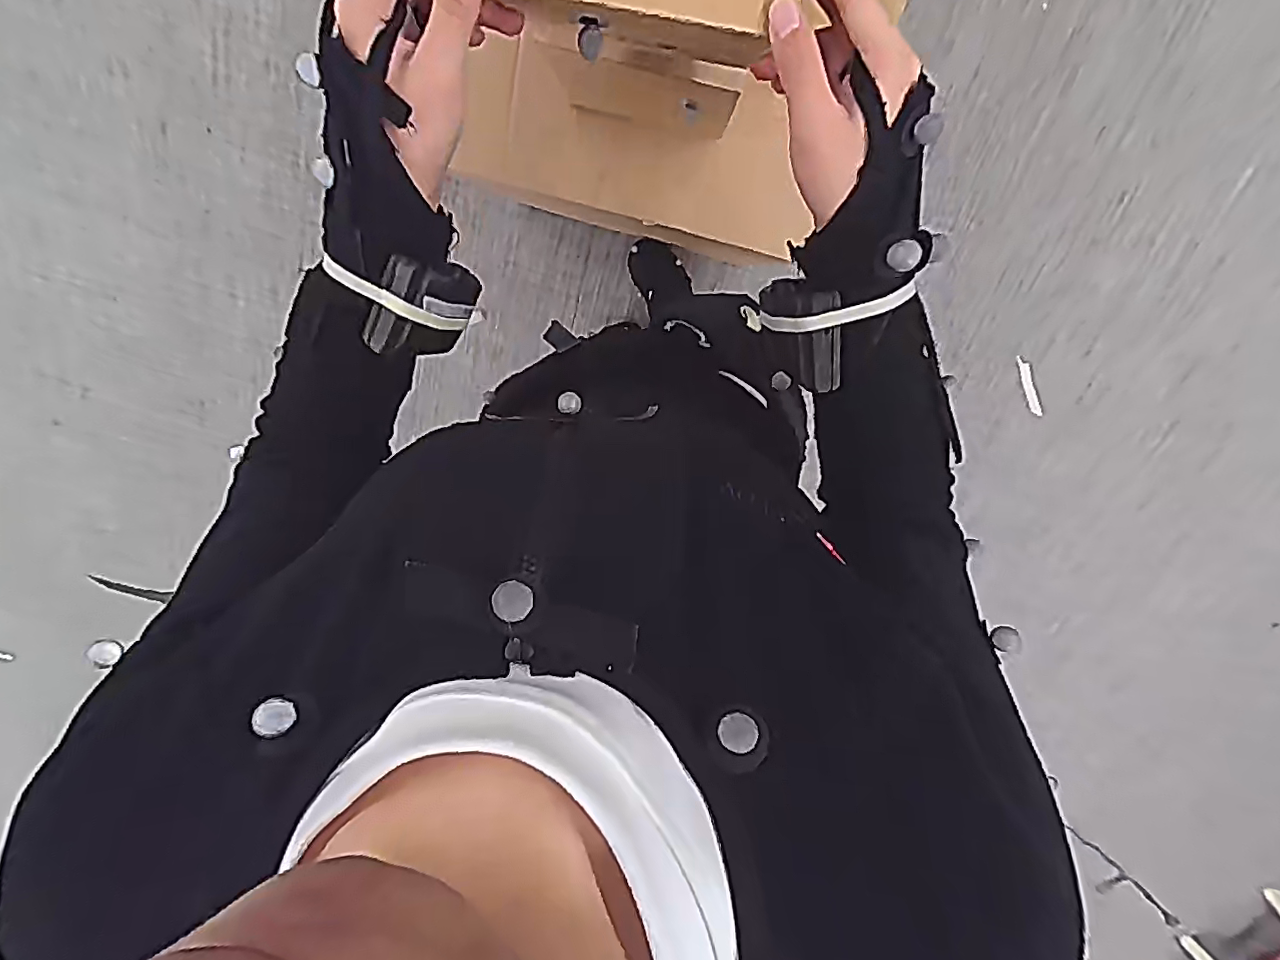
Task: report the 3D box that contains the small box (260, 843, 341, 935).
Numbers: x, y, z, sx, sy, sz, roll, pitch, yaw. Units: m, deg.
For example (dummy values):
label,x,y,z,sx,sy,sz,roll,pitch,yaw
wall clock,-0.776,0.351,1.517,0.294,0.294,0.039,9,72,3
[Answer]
label,x,y,z,sx,sy,sz,roll,pitch,yaw
small box,-1.107,1.335,1.773,0.168,0.176,0.179,16,112,-5

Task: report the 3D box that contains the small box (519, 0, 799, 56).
label,x,y,z,sx,sy,sz,roll,pitch,yaw
small box,0.009,-0.333,0.262,0.168,0.176,0.179,9,122,-3
